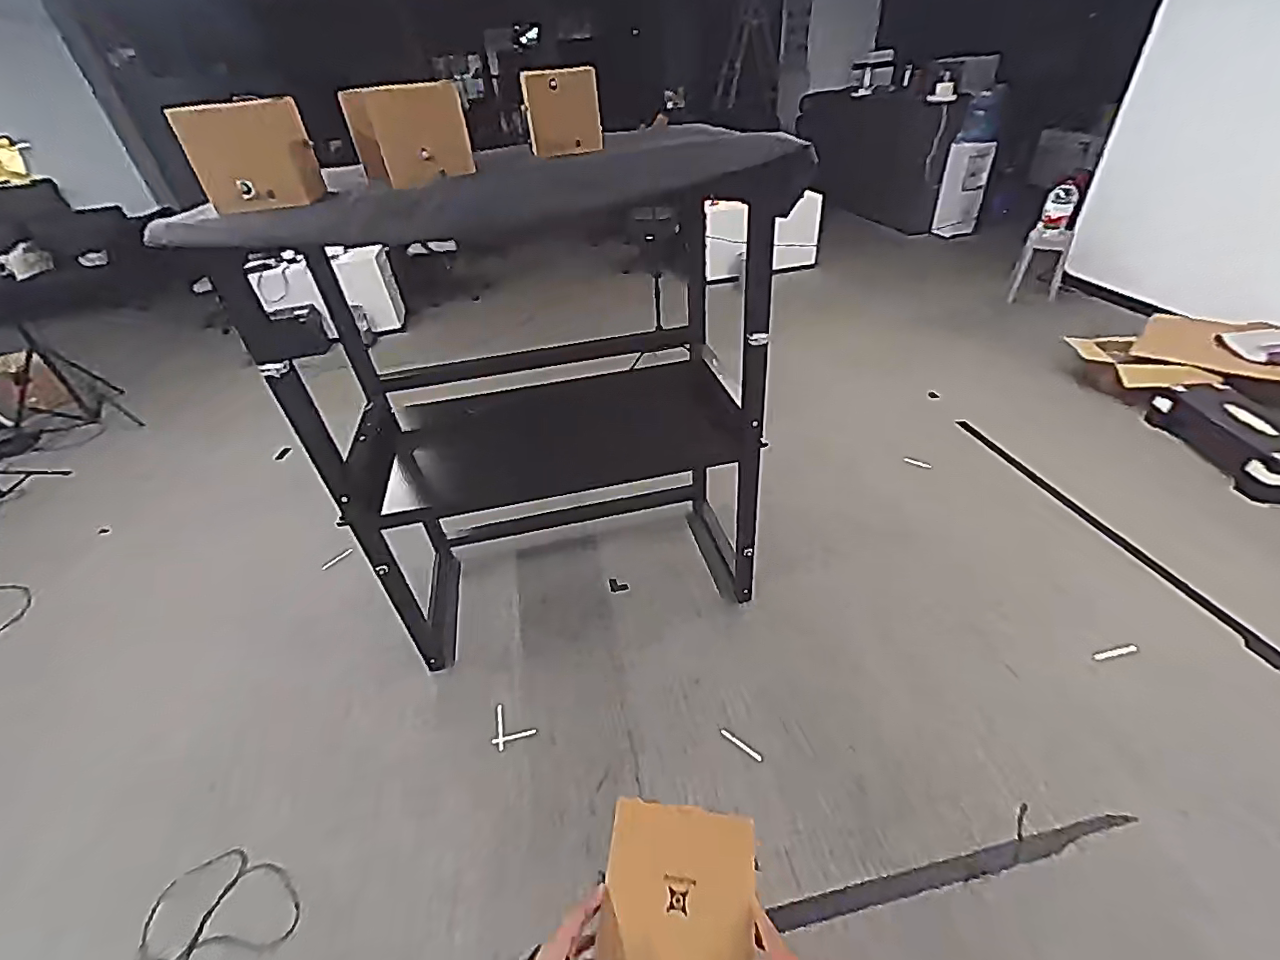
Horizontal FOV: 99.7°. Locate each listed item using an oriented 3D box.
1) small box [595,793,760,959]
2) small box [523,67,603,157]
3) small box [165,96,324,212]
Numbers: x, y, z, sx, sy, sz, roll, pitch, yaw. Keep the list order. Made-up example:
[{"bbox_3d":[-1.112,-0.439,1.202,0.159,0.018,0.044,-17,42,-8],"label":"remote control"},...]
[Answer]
[{"bbox_3d":[0.044,0.498,0.631,0.168,0.176,0.179,6,44,5],"label":"small box"},{"bbox_3d":[-0.190,-0.907,1.335,0.168,0.176,0.179,-11,38,-7],"label":"small box"},{"bbox_3d":[-0.726,-0.616,1.021,0.168,0.176,0.179,-12,38,-9],"label":"small box"}]
